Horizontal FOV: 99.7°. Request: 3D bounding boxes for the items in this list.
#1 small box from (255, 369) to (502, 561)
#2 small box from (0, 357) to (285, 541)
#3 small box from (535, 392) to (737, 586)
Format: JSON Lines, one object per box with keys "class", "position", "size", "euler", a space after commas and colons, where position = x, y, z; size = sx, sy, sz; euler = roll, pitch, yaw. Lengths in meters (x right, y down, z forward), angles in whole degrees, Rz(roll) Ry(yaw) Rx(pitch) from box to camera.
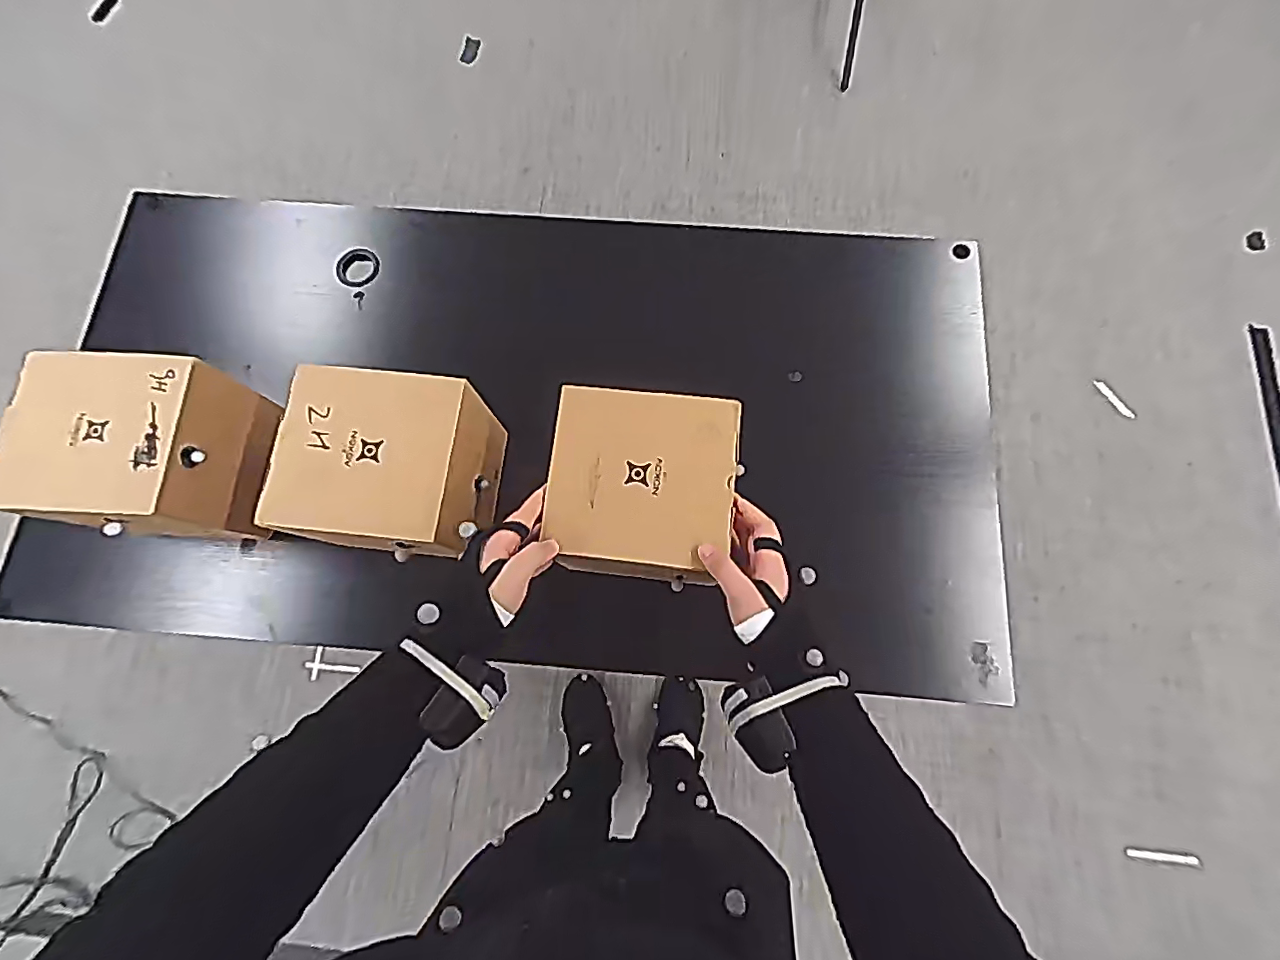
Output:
{"class": "small box", "position": [-0.266, -0.005, 0.599], "size": [0.179, 0.176, 0.168], "euler": [5, 76, 3]}
{"class": "small box", "position": [-0.538, -0.024, 0.609], "size": [0.179, 0.176, 0.168], "euler": [2, 76, 2]}
{"class": "small box", "position": [0.003, 0.020, 0.581], "size": [0.179, 0.176, 0.168], "euler": [5, 75, 5]}
